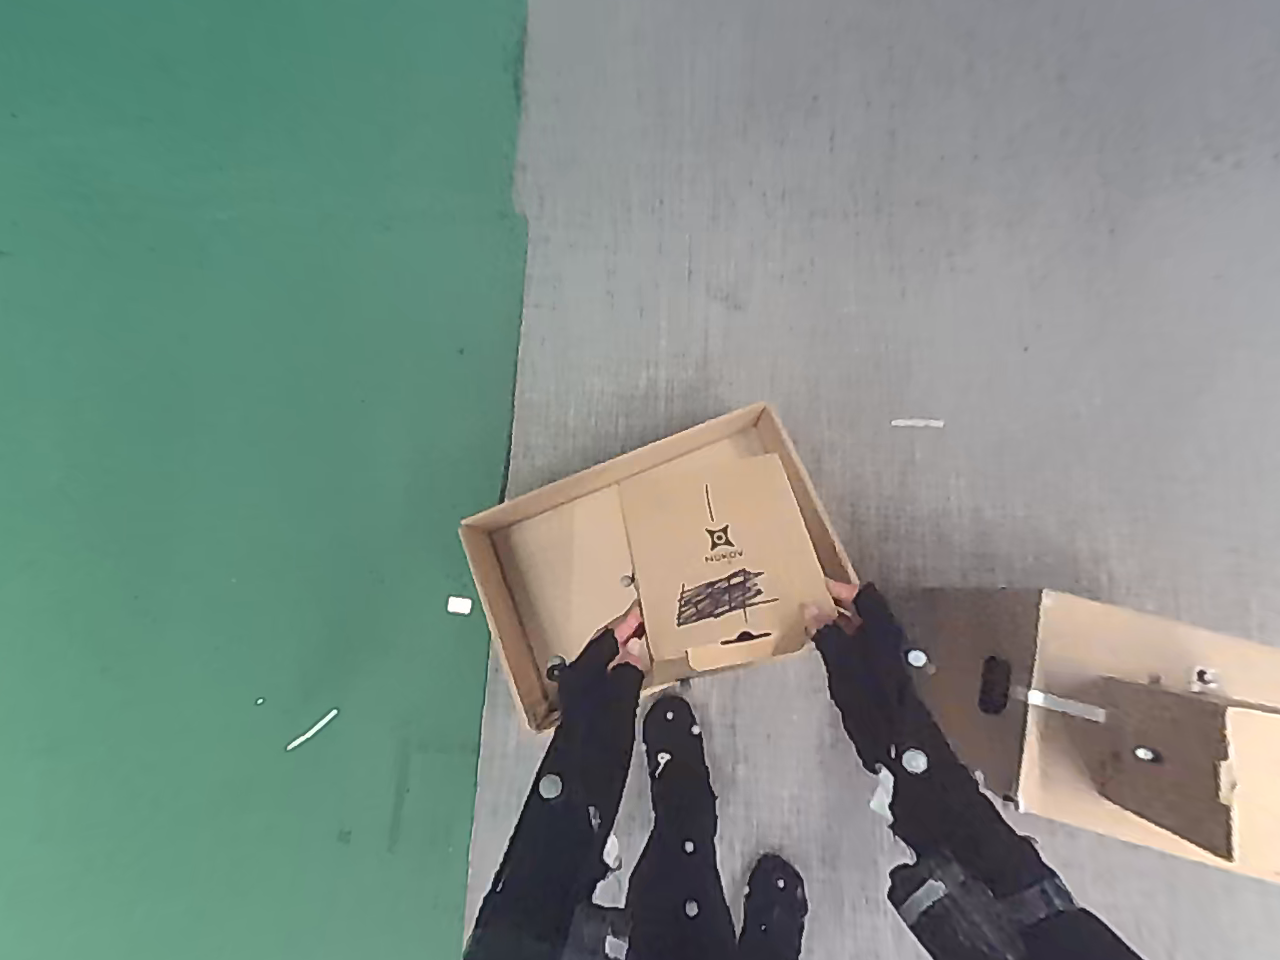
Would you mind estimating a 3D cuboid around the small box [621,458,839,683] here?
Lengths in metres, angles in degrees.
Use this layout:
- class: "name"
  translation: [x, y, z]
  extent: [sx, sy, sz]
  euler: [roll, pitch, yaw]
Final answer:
- class: "small box"
  translation: [0.079, 0.104, 0.561]
  extent: [0.168, 0.176, 0.179]
  euler: [-10, 62, -3]

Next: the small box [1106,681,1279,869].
- class: "small box"
  translation: [0.724, 0.355, 0.665]
  extent: [0.179, 0.176, 0.168]
  euler: [9, 80, 4]
